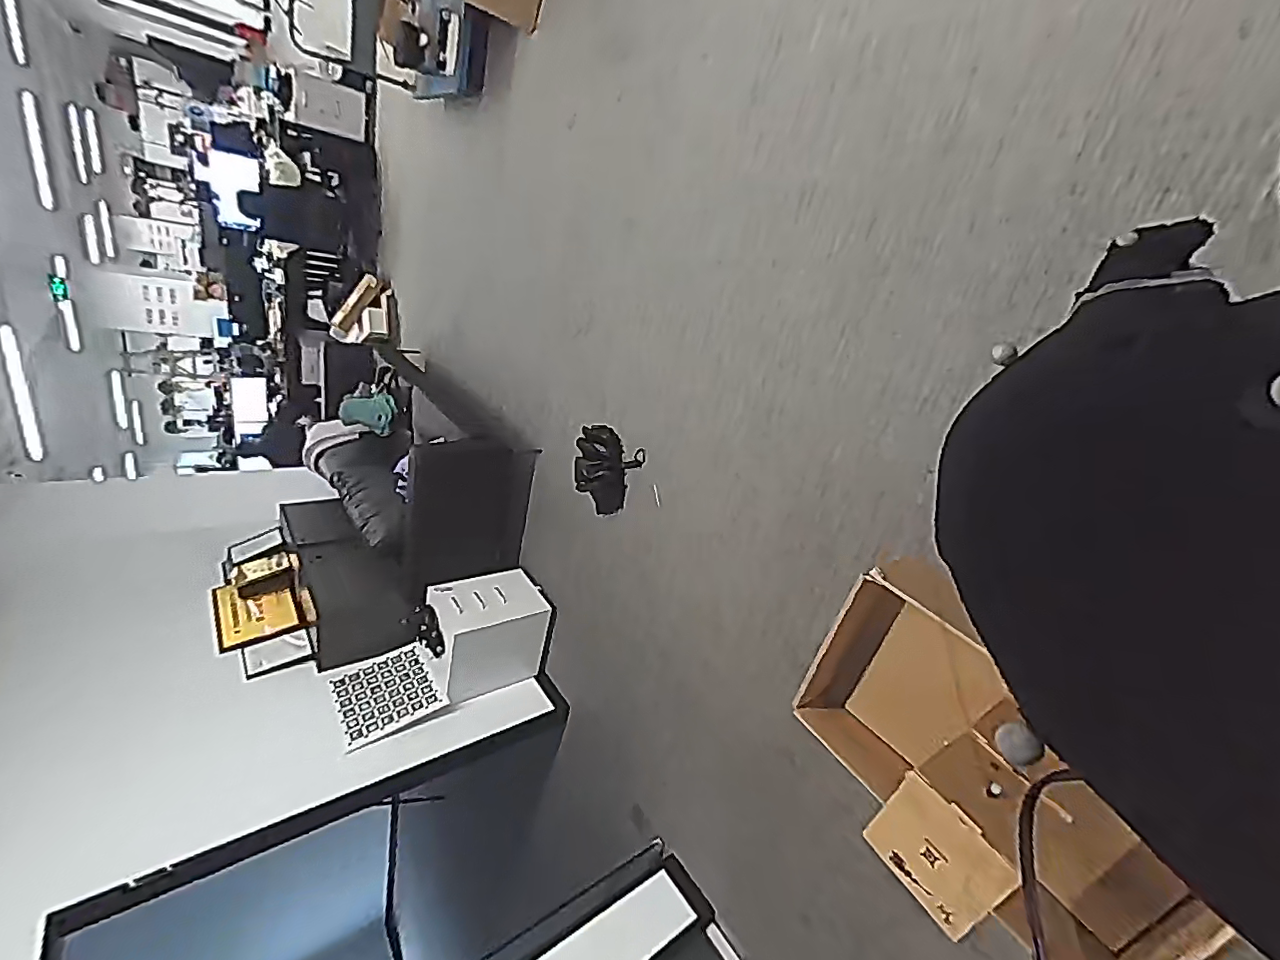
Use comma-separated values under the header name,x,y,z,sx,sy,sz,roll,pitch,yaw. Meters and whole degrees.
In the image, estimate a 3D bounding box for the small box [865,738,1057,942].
name,x,y,z,sx,sy,sz,roll,pitch,yaw
small box,0.489,0.533,0.824,0.168,0.176,0.179,44,127,42

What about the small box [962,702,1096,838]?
name,x,y,z,sx,sy,sz,roll,pitch,yaw
small box,0.624,0.512,0.917,0.168,0.176,0.179,44,129,42
